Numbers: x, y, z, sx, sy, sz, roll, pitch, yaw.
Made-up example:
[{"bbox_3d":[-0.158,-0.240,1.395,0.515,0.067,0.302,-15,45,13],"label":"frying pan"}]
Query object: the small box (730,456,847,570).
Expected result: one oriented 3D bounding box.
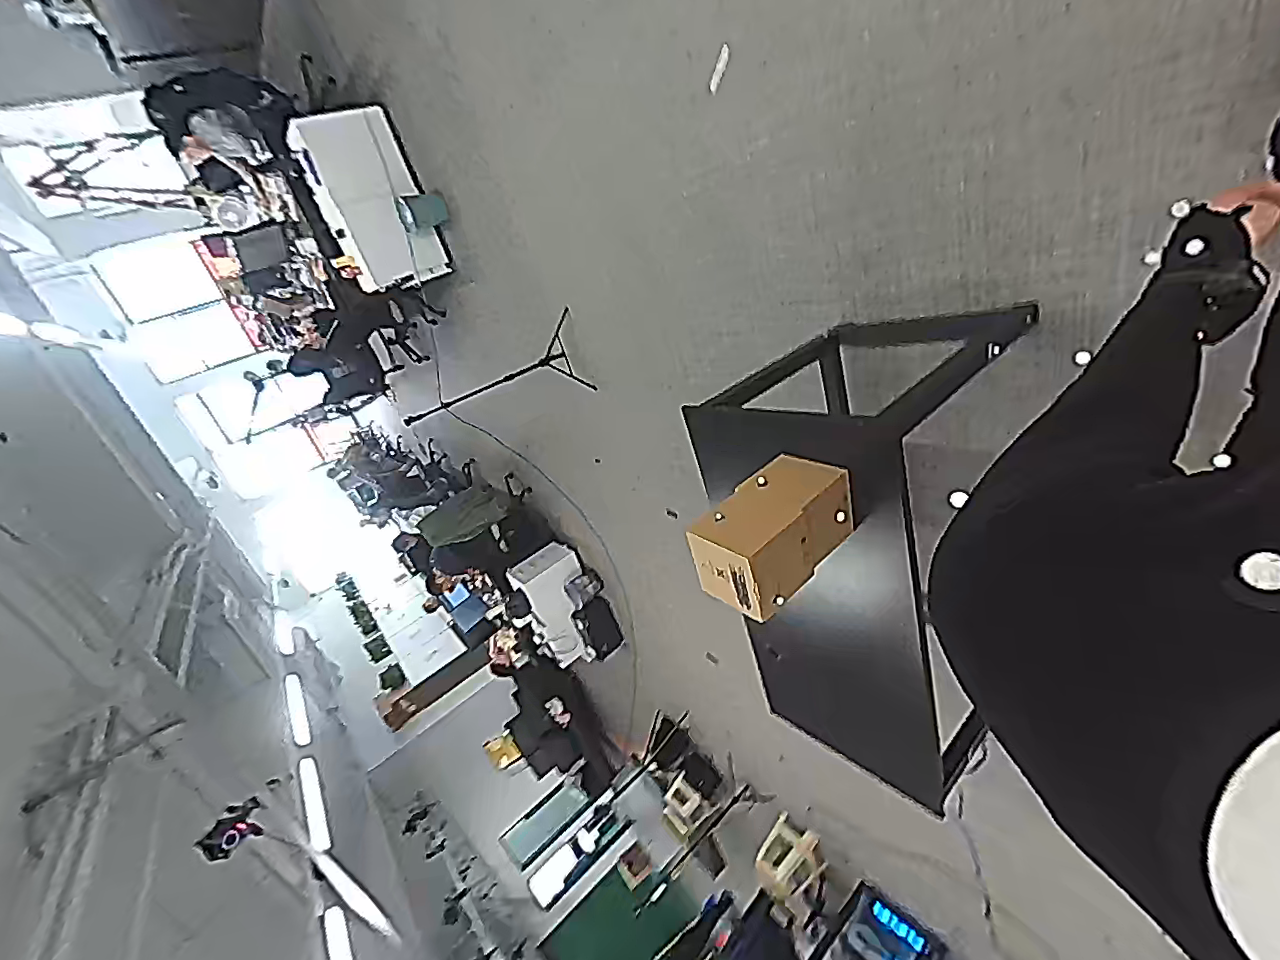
[{"bbox_3d":[0.330,0.063,1.194,0.179,0.176,0.168,21,137,49],"label":"small box"}]
